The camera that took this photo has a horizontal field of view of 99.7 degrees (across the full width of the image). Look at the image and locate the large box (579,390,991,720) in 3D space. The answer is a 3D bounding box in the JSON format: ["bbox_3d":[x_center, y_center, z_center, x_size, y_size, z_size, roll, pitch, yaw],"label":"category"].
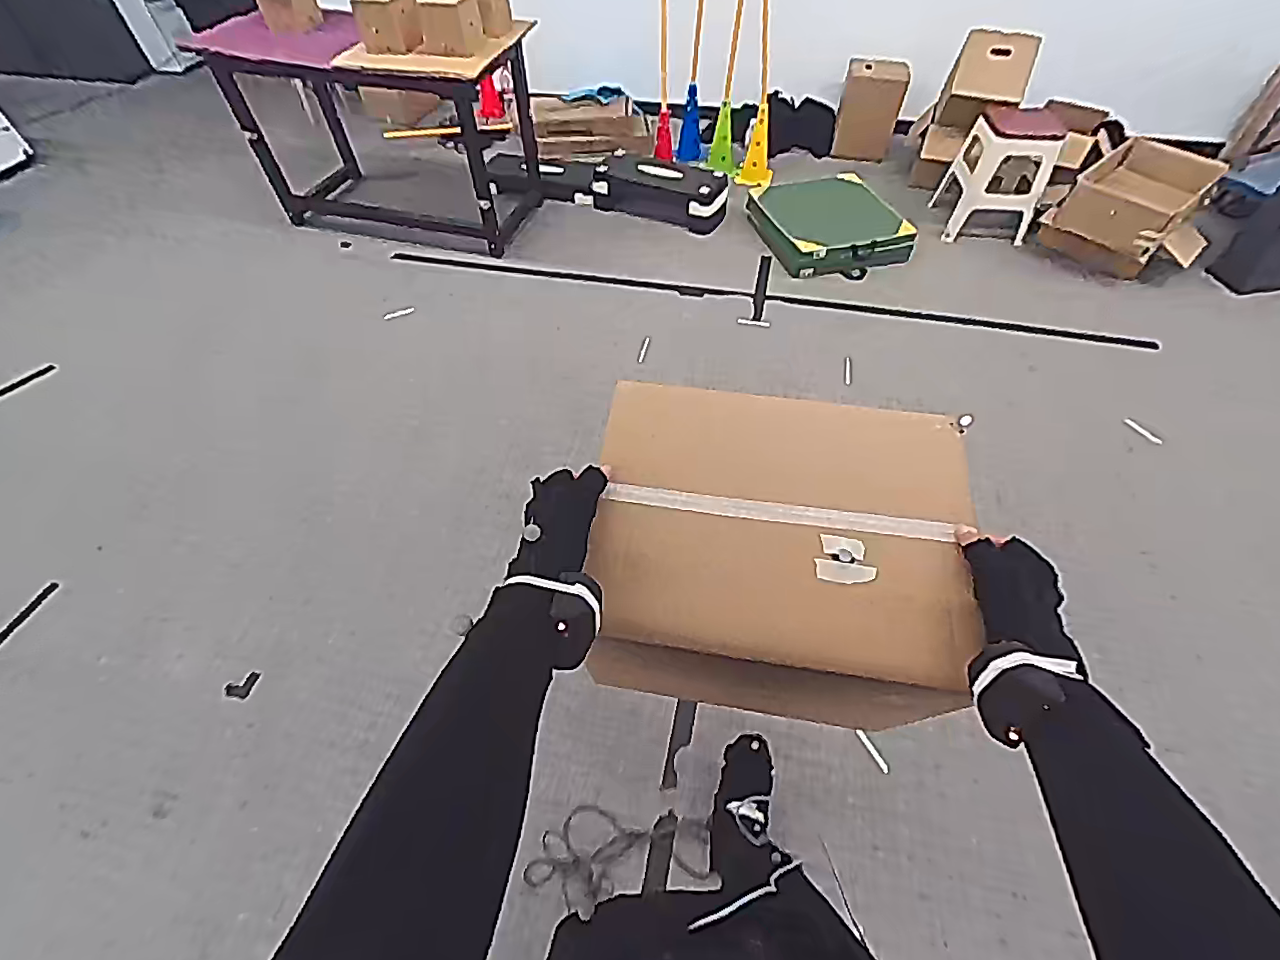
[{"bbox_3d":[0.158,0.111,0.723,0.408,0.320,0.320,8,61,6],"label":"large box"}]
